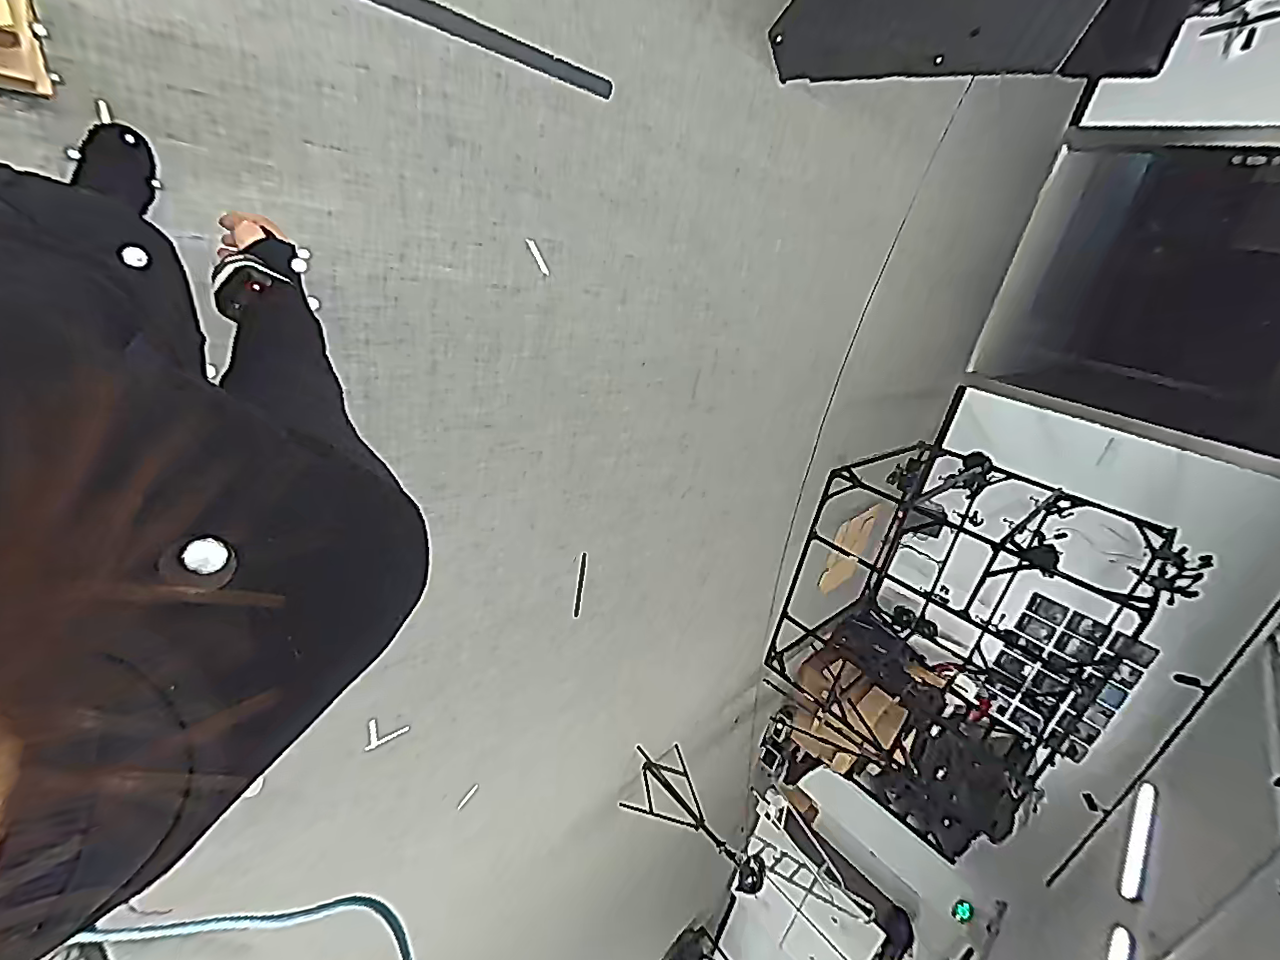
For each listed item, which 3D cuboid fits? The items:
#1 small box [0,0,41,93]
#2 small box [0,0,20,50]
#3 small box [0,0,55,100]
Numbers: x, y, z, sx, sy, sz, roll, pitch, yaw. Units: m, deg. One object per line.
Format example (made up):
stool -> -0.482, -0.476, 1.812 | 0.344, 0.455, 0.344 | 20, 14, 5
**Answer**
small box -> -0.966, -0.667, 0.747 | 0.168, 0.176, 0.179 | -9, 121, -45
small box -> -0.755, -0.548, 0.522 | 0.168, 0.176, 0.179 | -20, 128, -39
small box -> -1.075, -0.723, 0.855 | 0.179, 0.176, 0.168 | -14, 124, -41
